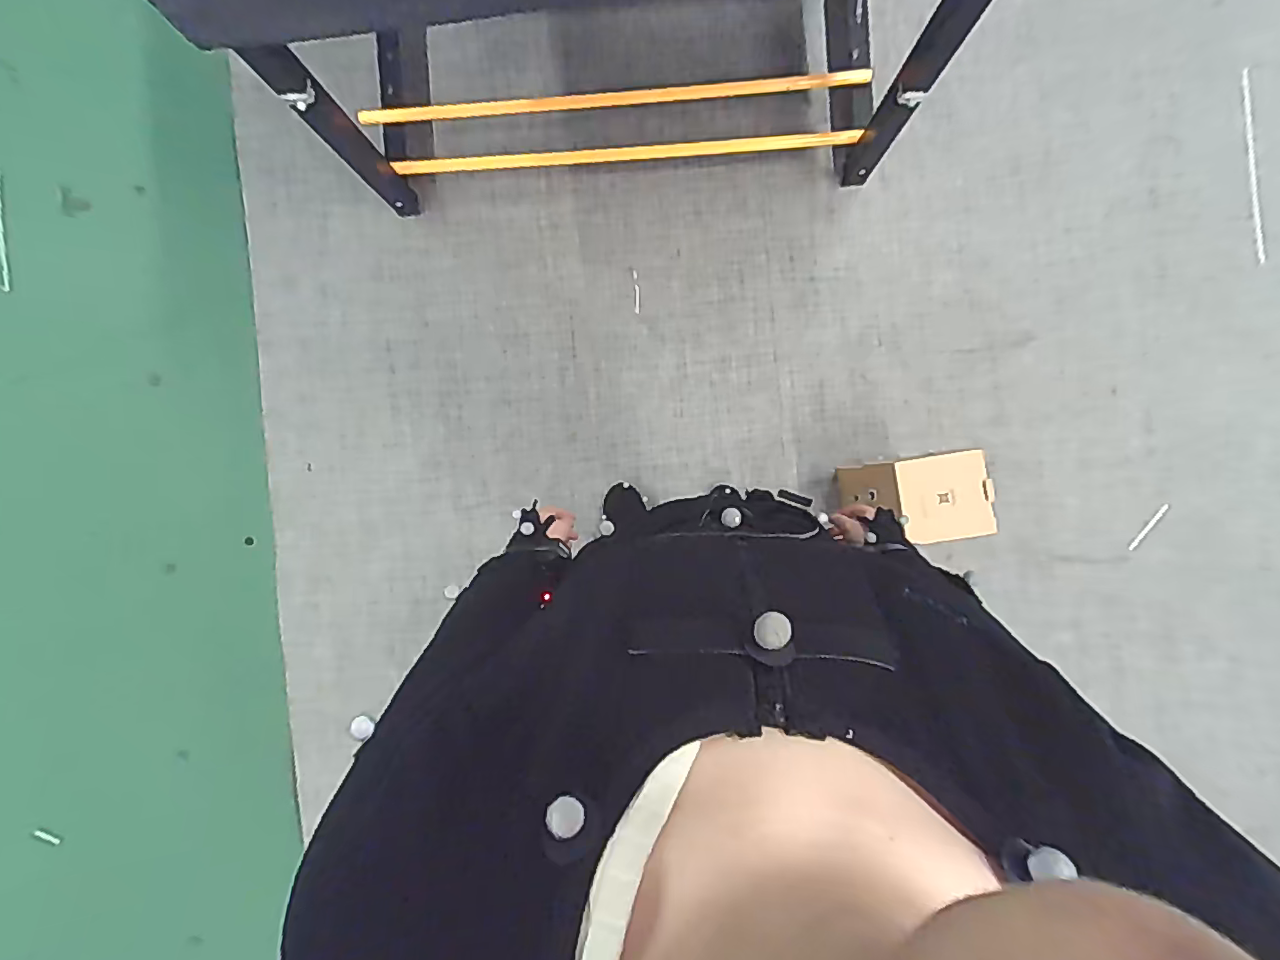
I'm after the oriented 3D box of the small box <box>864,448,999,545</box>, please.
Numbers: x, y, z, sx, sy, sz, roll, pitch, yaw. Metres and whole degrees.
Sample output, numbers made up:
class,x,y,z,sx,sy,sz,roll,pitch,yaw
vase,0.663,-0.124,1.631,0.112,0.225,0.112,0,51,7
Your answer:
class,x,y,z,sx,sy,sz,roll,pitch,yaw
small box,0.587,0.031,1.107,0.179,0.176,0.168,-10,89,3

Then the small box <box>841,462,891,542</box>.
class,x,y,z,sx,sy,sz,roll,pitch,yaw
small box,0.588,0.042,1.271,0.168,0.176,0.179,-9,89,2
